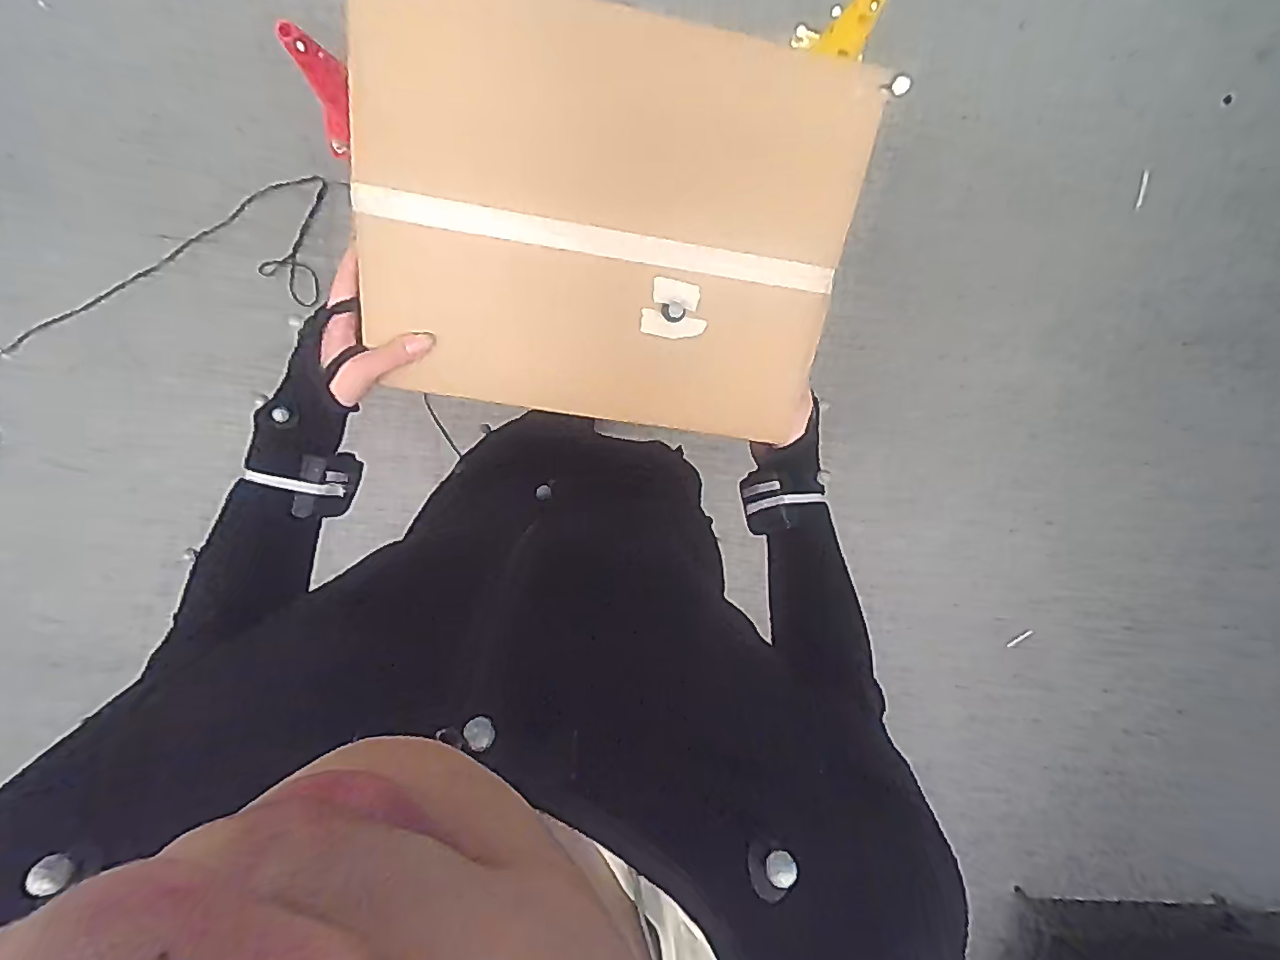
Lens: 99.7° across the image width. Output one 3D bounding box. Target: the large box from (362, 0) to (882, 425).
[{"bbox_3d":[-0.036,-0.276,0.598,0.408,0.320,0.320,7,115,-7],"label":"large box"}]
